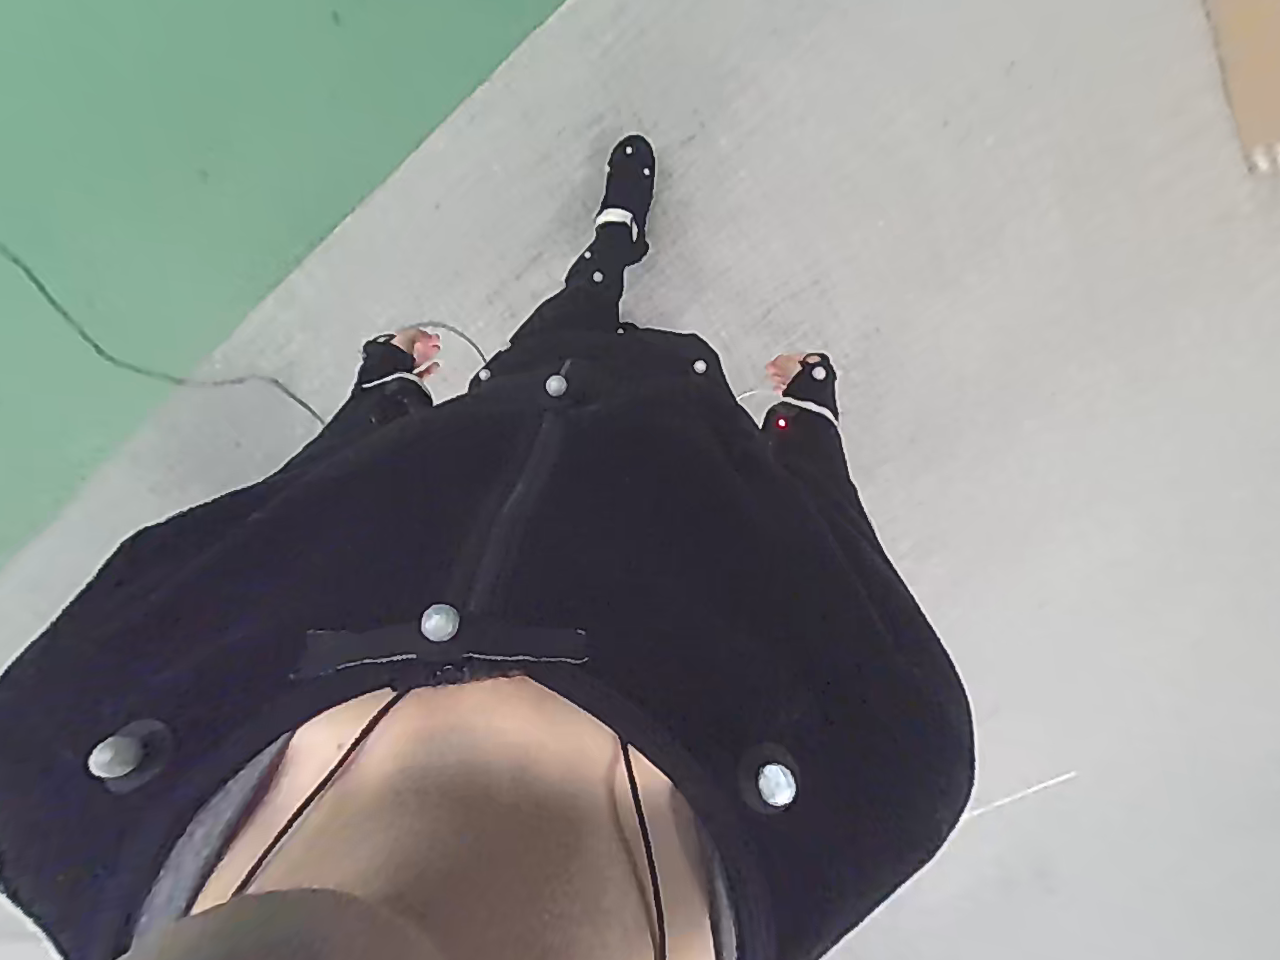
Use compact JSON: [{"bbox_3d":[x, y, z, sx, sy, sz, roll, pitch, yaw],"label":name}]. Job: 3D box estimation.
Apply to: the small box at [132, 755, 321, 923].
[{"bbox_3d":[-0.730,0.641,0.977,0.168,0.176,0.179,-36,107,16],"label":"small box"}]
